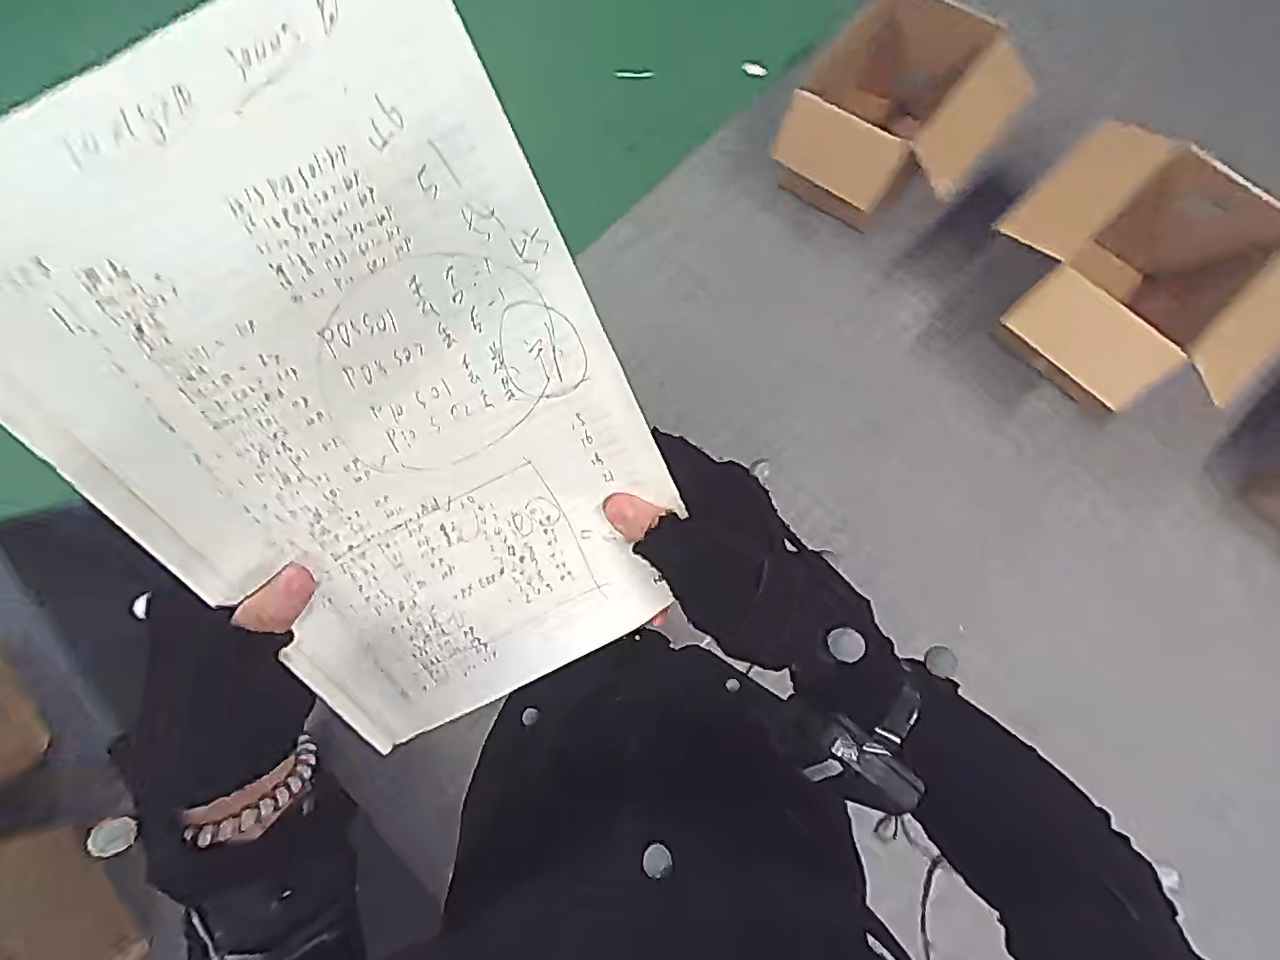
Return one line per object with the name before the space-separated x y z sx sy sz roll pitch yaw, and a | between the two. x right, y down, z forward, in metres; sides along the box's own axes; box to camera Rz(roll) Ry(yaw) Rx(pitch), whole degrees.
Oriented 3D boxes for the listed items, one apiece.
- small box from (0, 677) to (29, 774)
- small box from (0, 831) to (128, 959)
small box | -0.831 0.292 0.564 0.179 0.176 0.168 -42 79 -6
small box | -0.660 0.483 0.510 0.179 0.176 0.168 41 83 11
